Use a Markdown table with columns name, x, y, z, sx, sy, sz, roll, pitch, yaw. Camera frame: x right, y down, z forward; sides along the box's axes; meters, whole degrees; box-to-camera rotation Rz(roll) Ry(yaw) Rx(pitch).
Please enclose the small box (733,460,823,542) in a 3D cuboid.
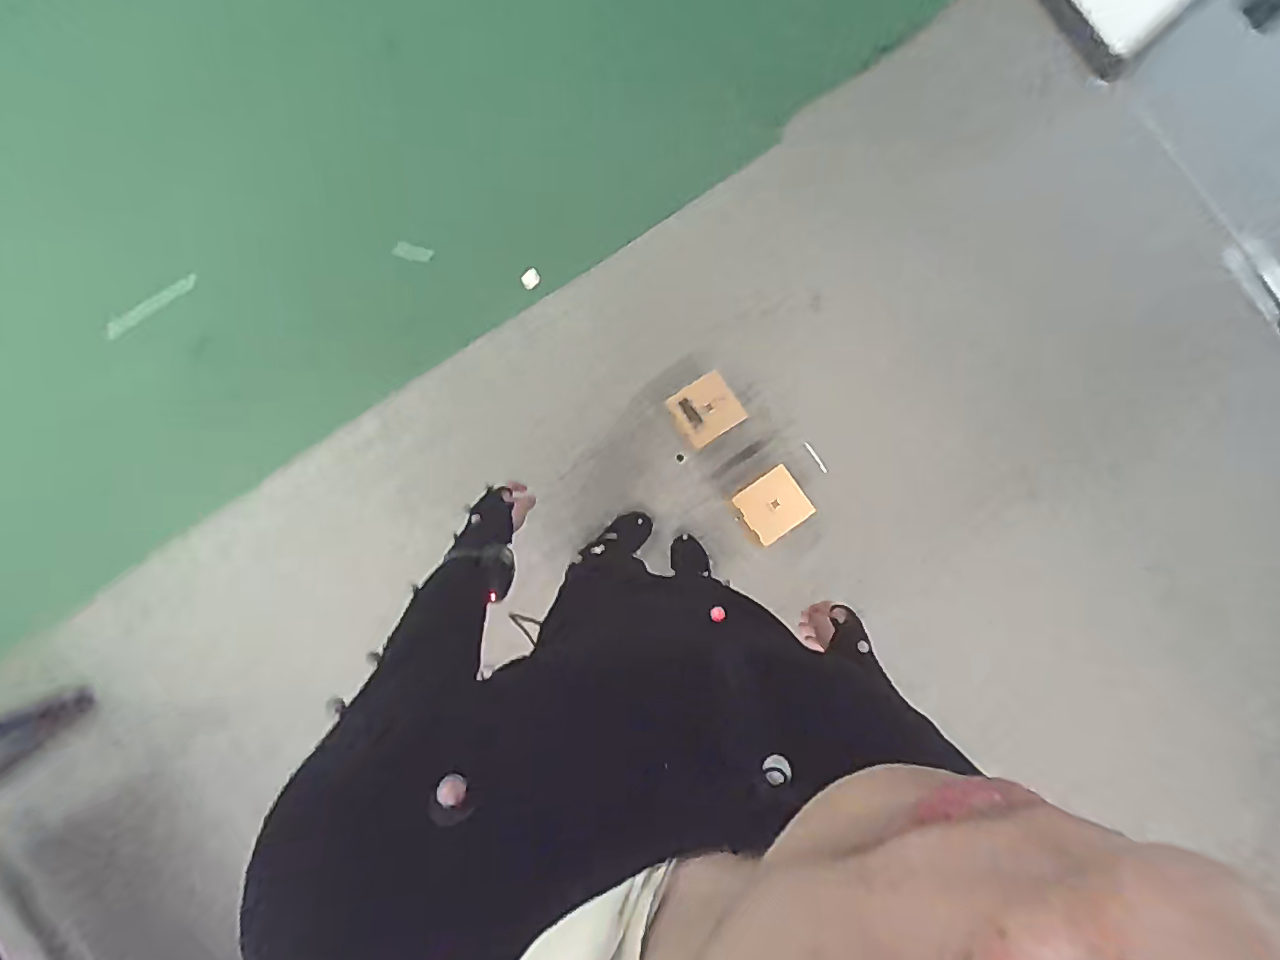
| name | x | y | z | sx | sy | sz | roll | pitch | yaw |
| --- | --- | --- | --- | --- | --- | --- | --- | --- | --- |
| small box | 0.389 | 0.056 | 1.564 | 0.179 | 0.176 | 0.168 | -35 | 88 | 1 |
